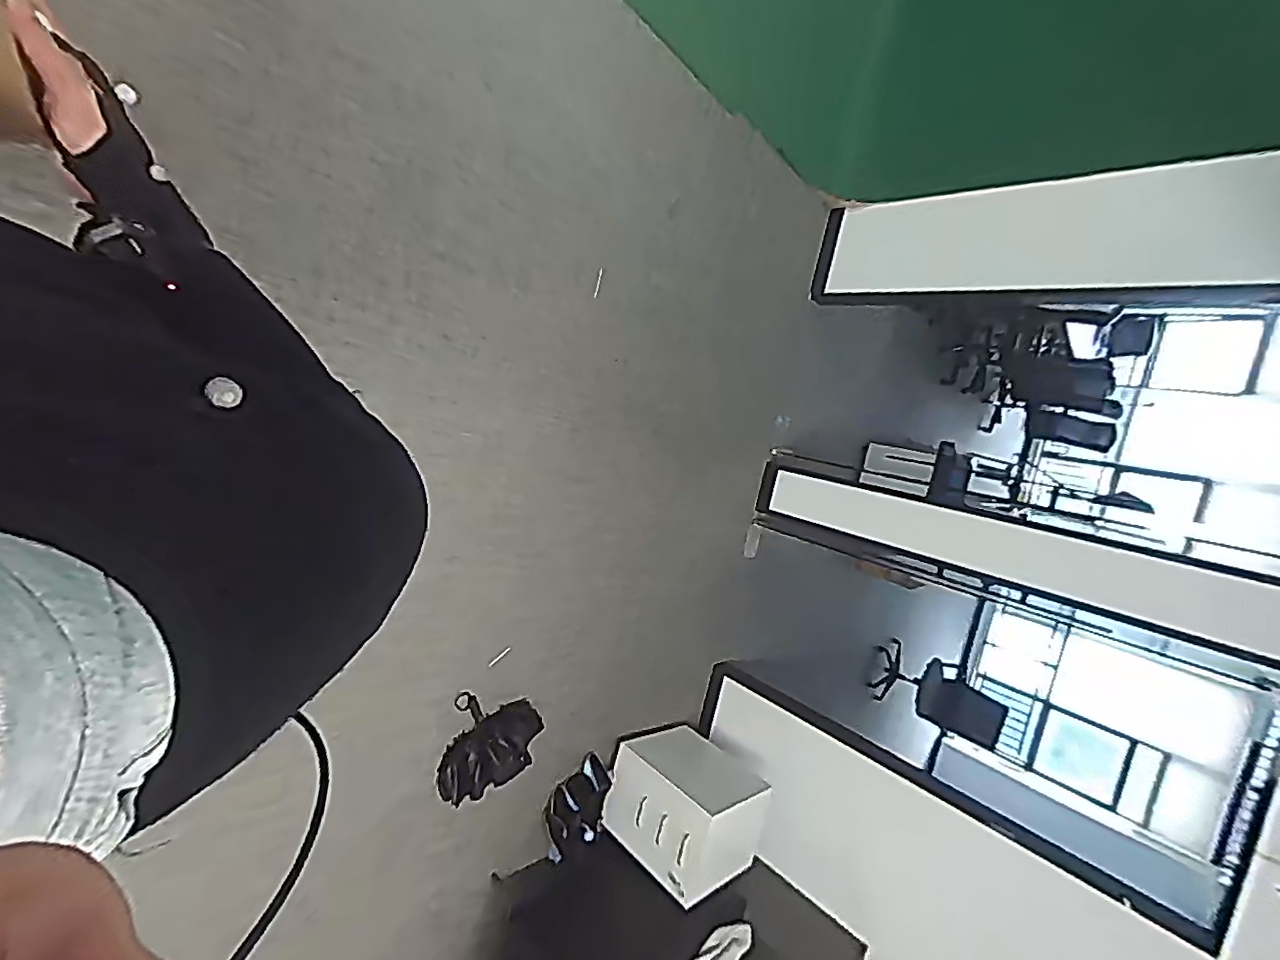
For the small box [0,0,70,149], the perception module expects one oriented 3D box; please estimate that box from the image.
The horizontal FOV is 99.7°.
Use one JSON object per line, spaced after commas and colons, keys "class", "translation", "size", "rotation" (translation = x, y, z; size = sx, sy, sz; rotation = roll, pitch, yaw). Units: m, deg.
{"class": "small box", "translation": [-0.474, -0.305, 0.298], "size": [0.179, 0.176, 0.168], "rotation": [-17, 110, -37]}
